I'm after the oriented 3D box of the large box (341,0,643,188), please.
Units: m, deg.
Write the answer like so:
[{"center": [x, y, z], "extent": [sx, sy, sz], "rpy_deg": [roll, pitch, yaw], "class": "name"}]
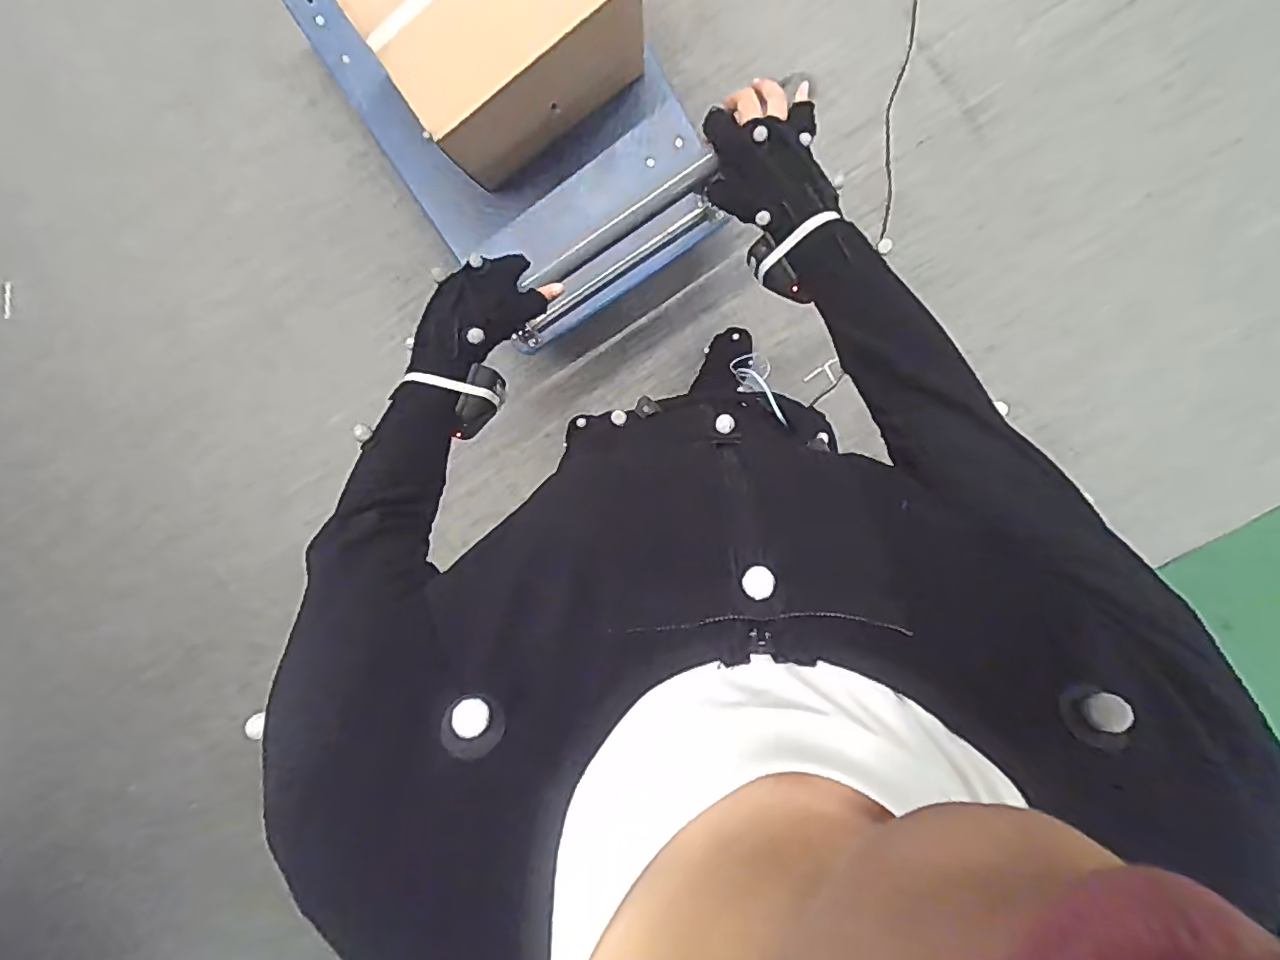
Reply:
[{"center": [-0.241, -0.816, 0.968], "extent": [0.408, 0.320, 0.320], "rpy_deg": [-33, 101, 10], "class": "large box"}]
